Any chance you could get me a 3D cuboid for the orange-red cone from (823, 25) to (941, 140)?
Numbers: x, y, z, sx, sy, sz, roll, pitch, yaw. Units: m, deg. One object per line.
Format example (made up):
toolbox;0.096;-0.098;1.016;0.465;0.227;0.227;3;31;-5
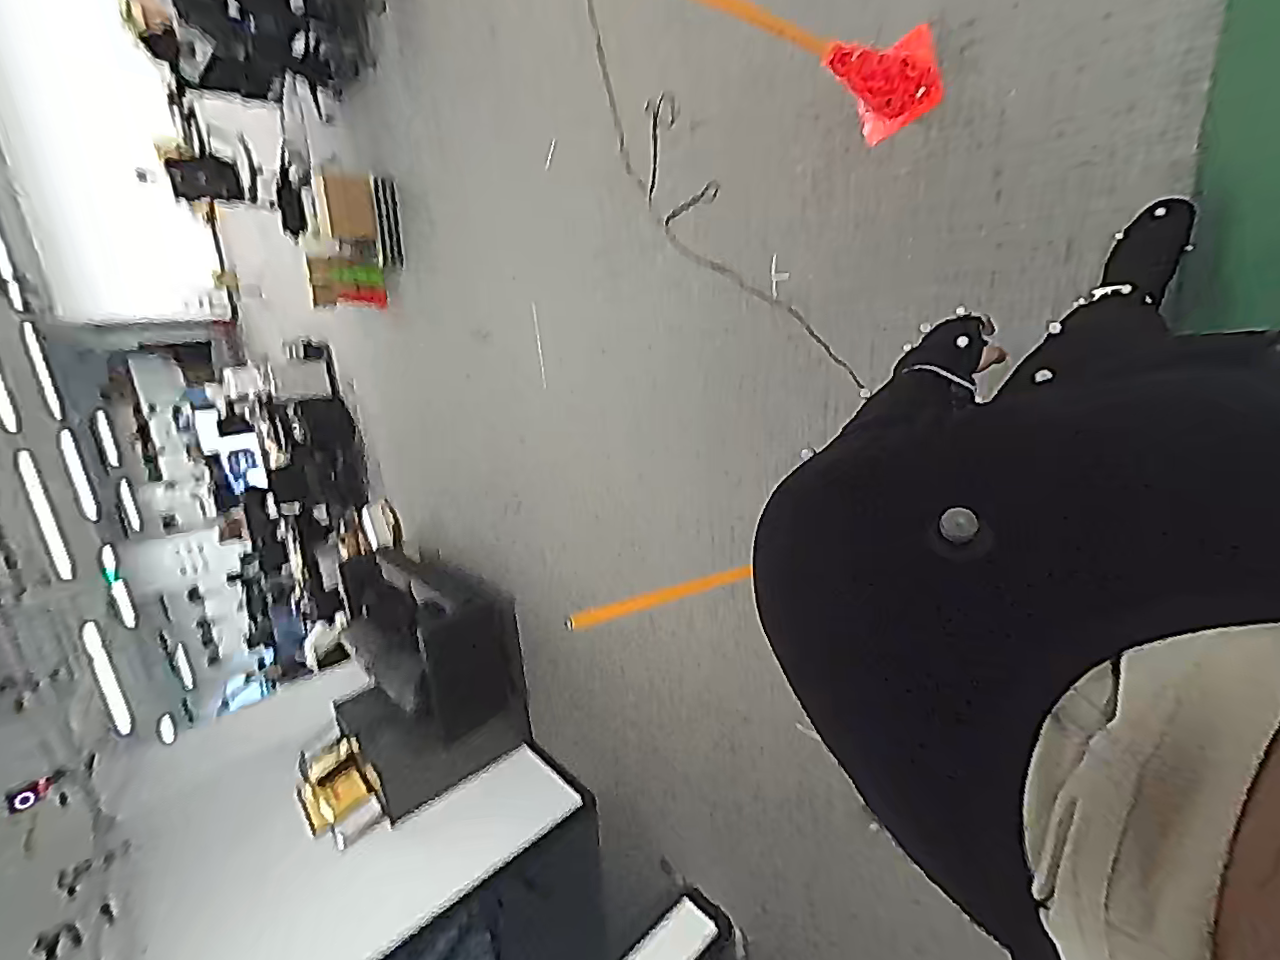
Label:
orange-red cone;0.549;-1.001;1.310;0.198;0.360;0.199;-10;94;50
